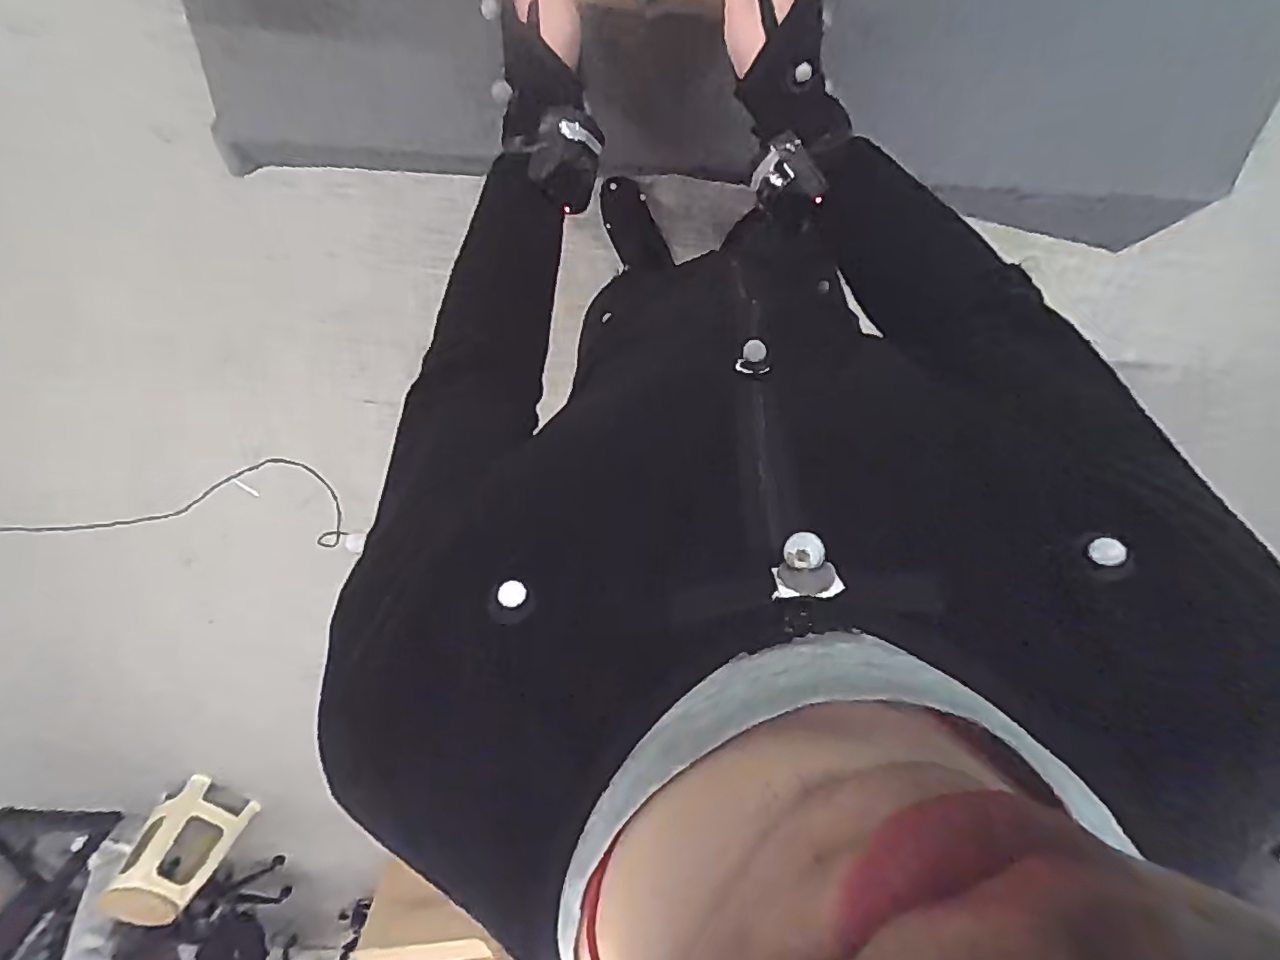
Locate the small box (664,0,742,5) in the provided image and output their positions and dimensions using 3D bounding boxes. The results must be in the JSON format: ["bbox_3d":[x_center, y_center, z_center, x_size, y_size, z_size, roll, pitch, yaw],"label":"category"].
[{"bbox_3d":[0.030,-0.504,0.430,0.179,0.176,0.168,5,124,-3],"label":"small box"}]
